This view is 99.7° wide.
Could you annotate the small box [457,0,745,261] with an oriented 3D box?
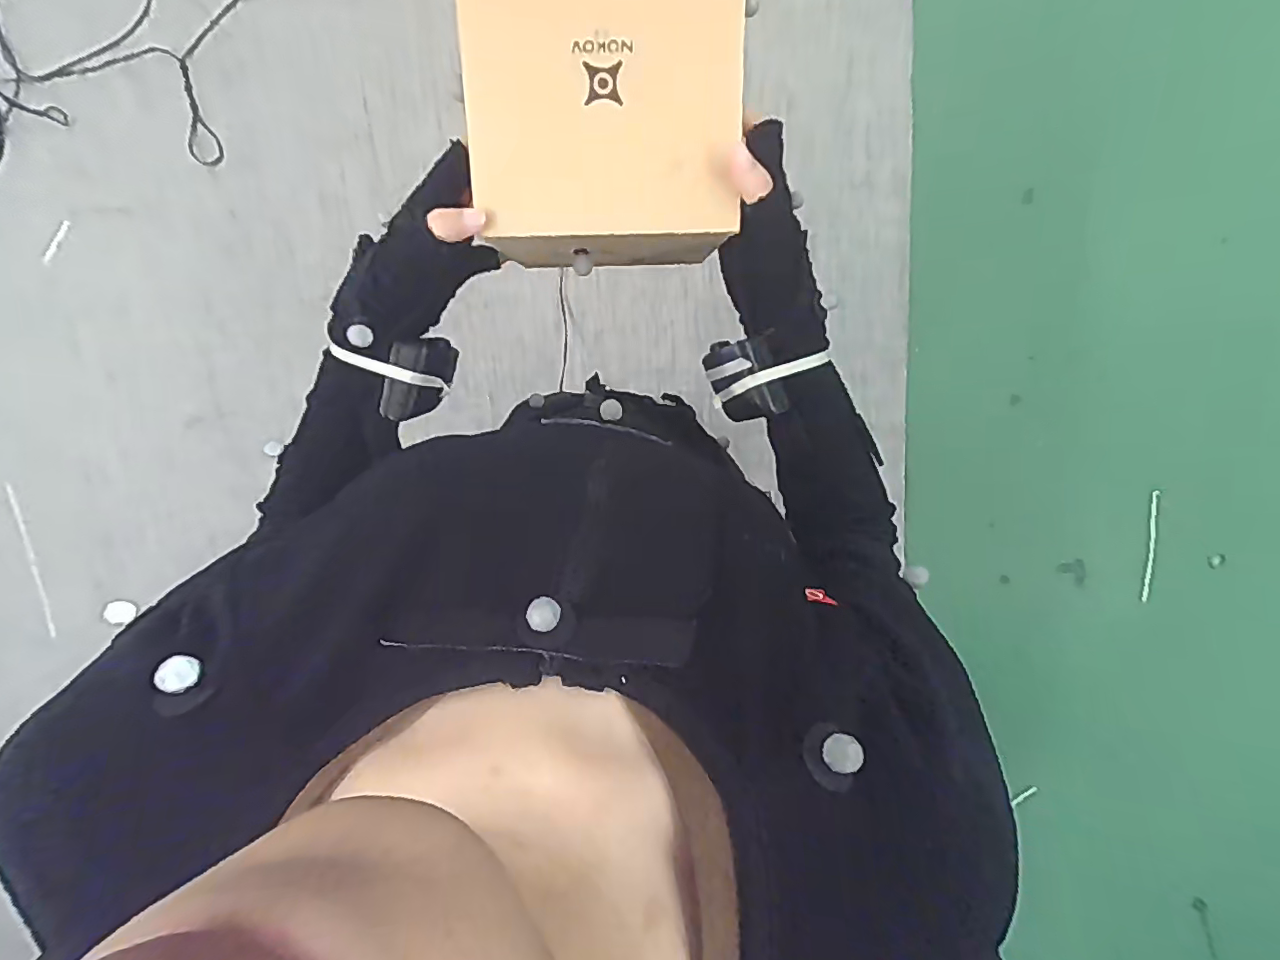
[{"bbox_3d":[-0.022,-0.260,0.389,0.168,0.176,0.179,-2,103,-1],"label":"small box"}]
